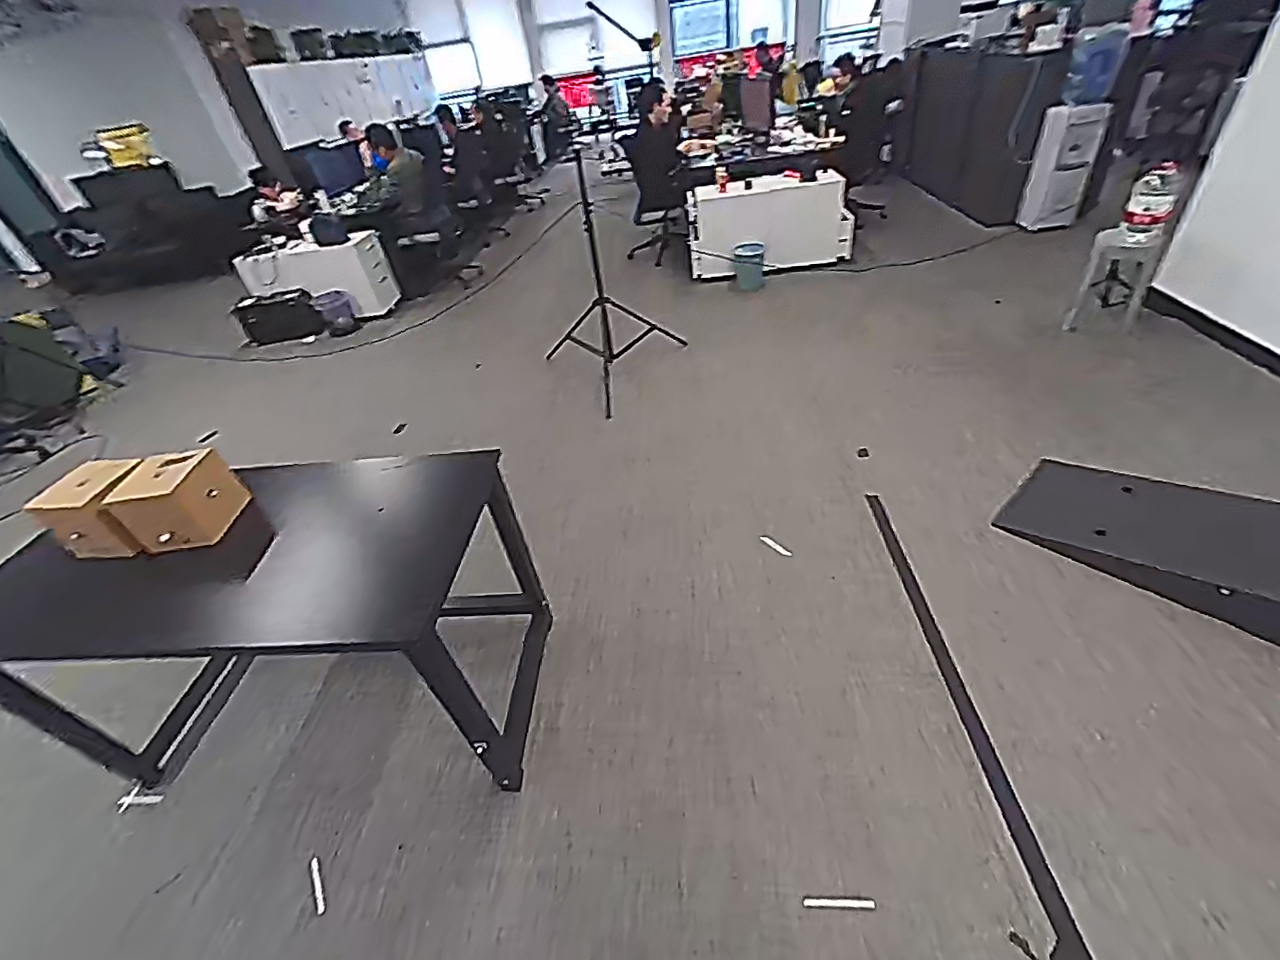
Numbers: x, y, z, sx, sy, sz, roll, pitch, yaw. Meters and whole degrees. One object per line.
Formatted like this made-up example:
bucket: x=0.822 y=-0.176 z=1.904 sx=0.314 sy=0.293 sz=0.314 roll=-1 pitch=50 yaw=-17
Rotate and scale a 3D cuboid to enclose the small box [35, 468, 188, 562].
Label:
small box: x=-1.295 y=0.090 z=1.344 sx=0.168 sy=0.176 sz=0.179 roll=-2 pitch=39 yaw=9
